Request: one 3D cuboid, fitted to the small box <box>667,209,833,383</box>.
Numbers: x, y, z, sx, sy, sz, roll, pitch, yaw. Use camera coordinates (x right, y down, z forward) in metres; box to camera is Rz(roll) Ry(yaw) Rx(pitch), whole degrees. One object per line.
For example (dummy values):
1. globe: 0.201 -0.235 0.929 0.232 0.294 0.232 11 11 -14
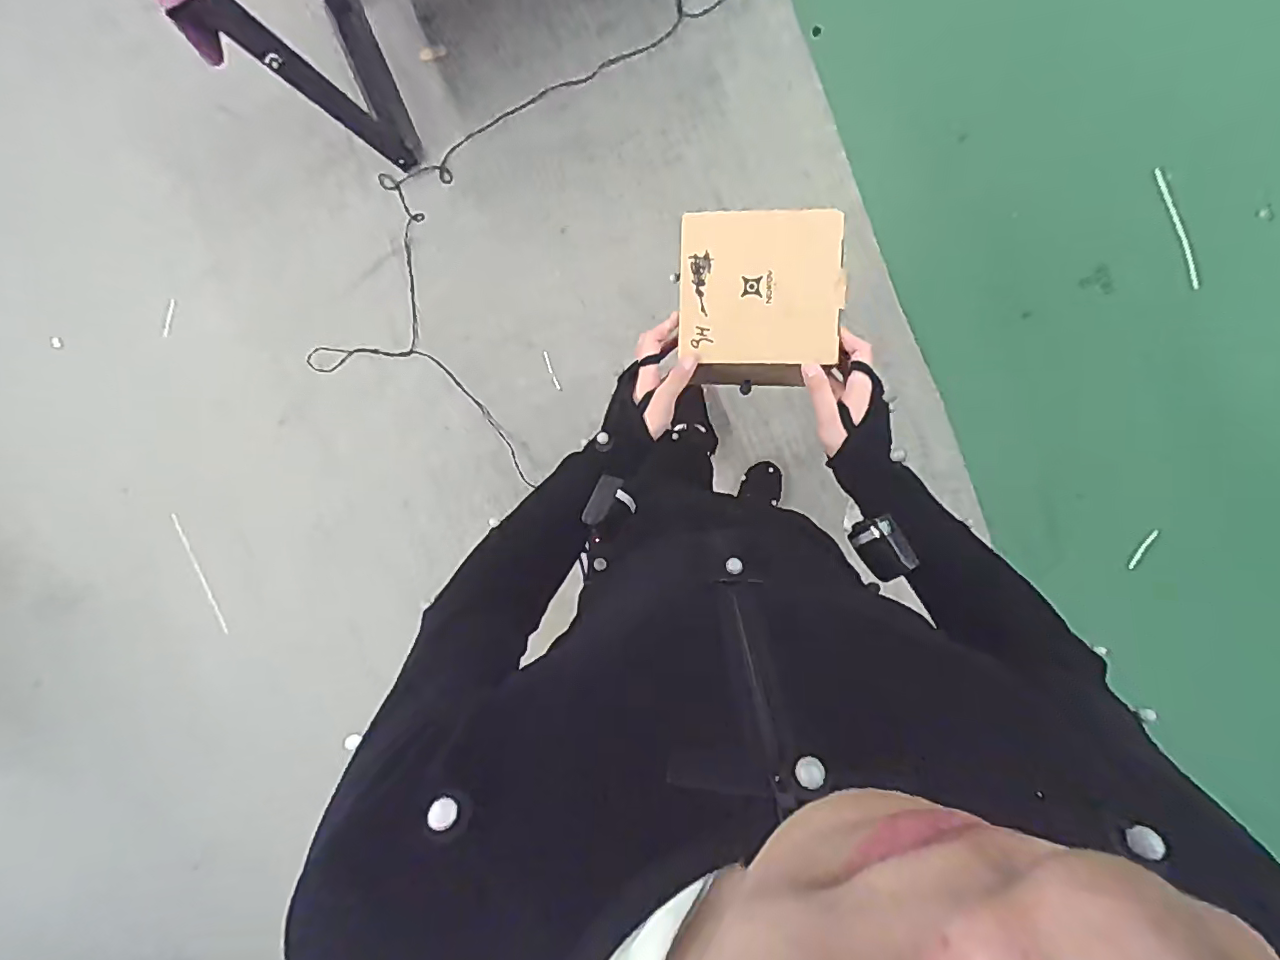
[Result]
1. small box: 0.127 -0.216 0.674 0.179 0.176 0.168 2 92 6
